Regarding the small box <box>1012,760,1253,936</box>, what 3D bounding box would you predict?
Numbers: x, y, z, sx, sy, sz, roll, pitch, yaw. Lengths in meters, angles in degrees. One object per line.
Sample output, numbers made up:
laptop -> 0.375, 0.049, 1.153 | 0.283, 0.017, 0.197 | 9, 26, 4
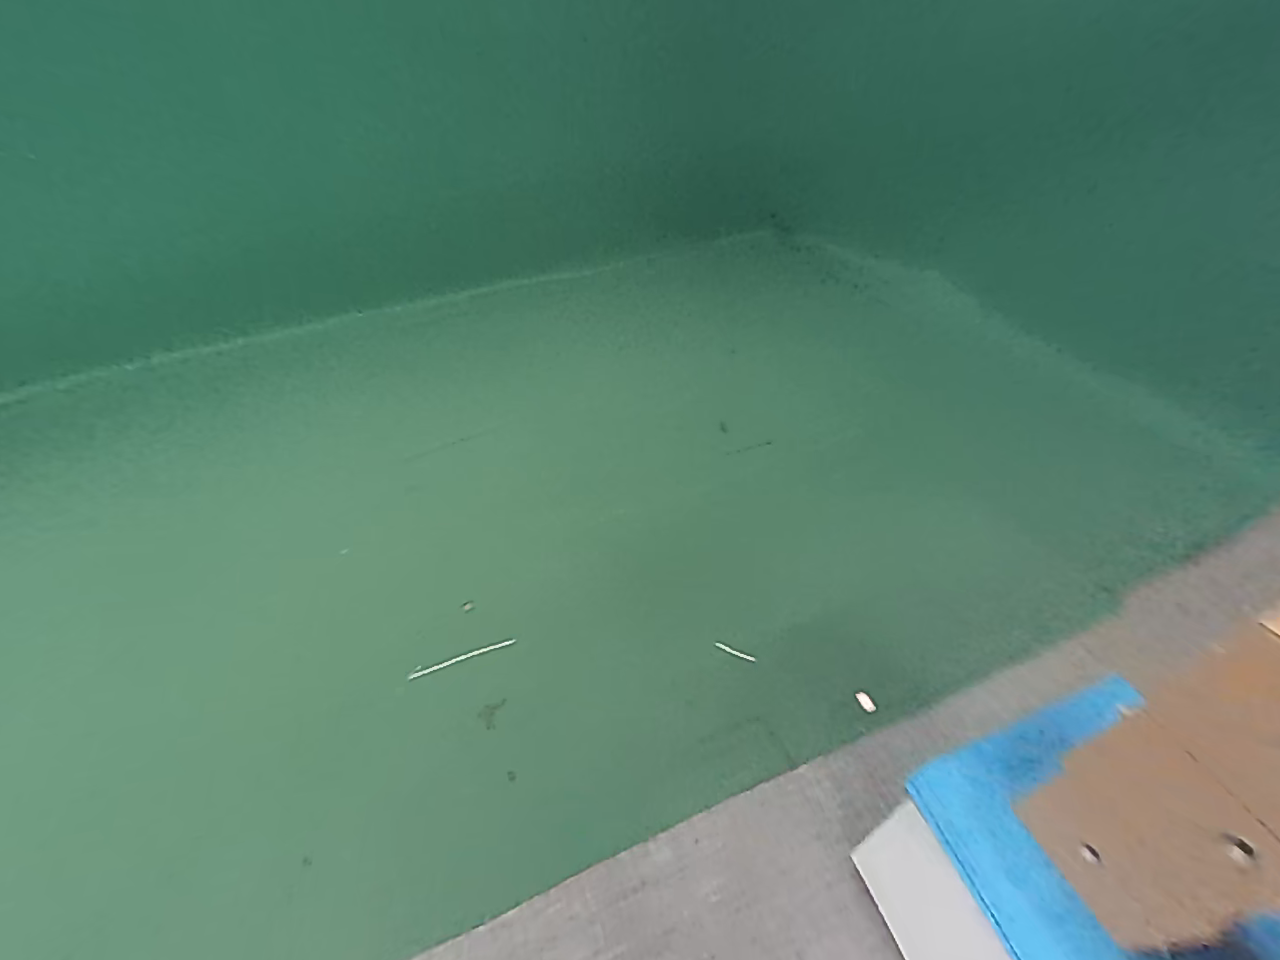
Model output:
small box -> 0.635, 0.443, 0.688 | 0.168, 0.176, 0.179 | -16, 46, -13

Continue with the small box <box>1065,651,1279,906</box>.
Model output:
small box -> 0.625, 0.321, 0.578 | 0.168, 0.176, 0.179 | -15, 46, -13
